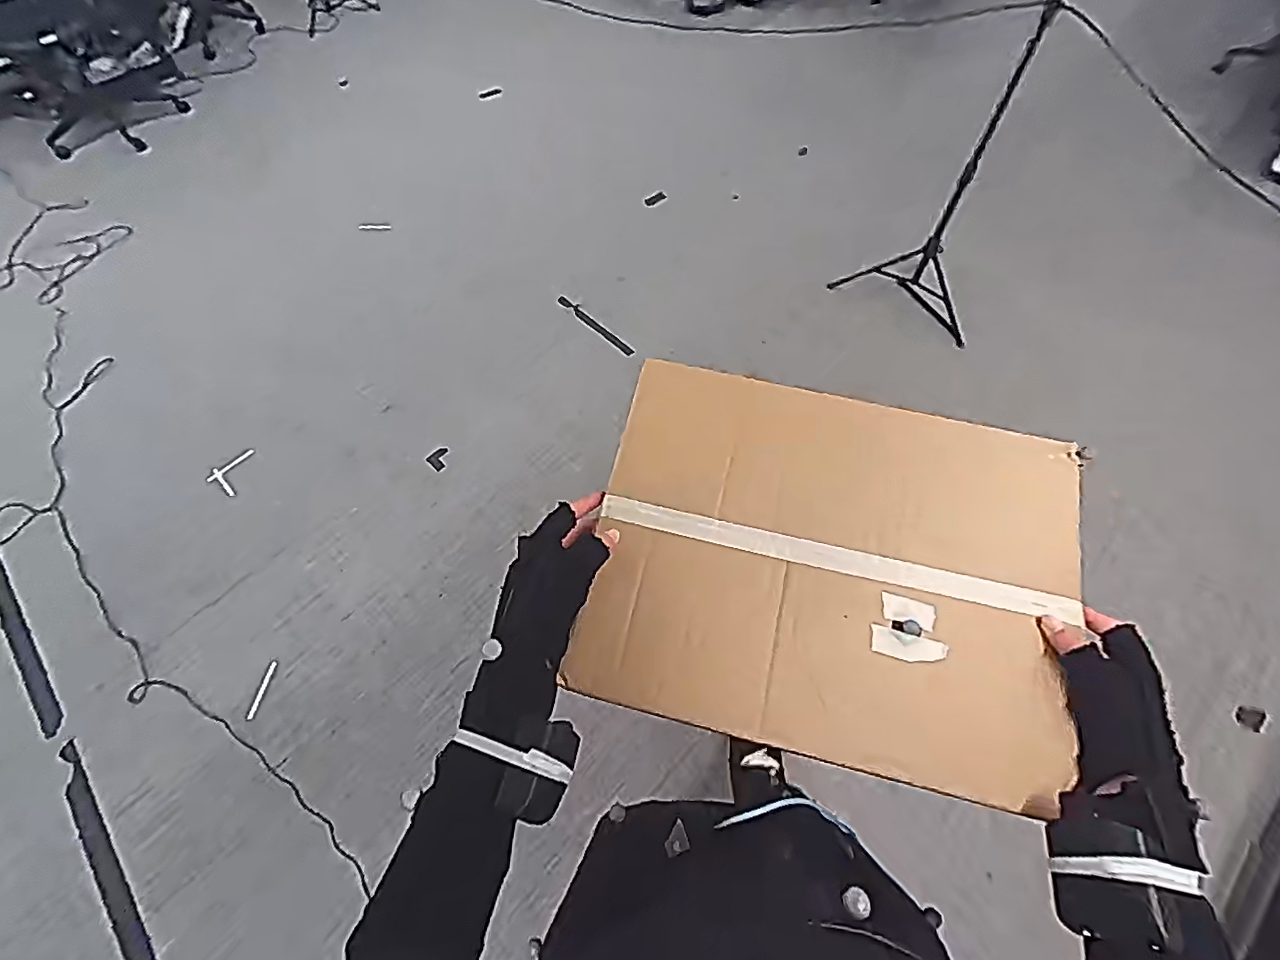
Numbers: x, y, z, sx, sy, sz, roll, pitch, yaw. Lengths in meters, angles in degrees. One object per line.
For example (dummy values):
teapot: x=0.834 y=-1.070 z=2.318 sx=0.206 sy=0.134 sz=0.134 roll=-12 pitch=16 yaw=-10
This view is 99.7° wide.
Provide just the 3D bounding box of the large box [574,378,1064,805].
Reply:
large box: x=0.170 y=0.123 z=0.623 sx=0.408 sy=0.320 sz=0.320 roll=13 pitch=72 yaw=6
